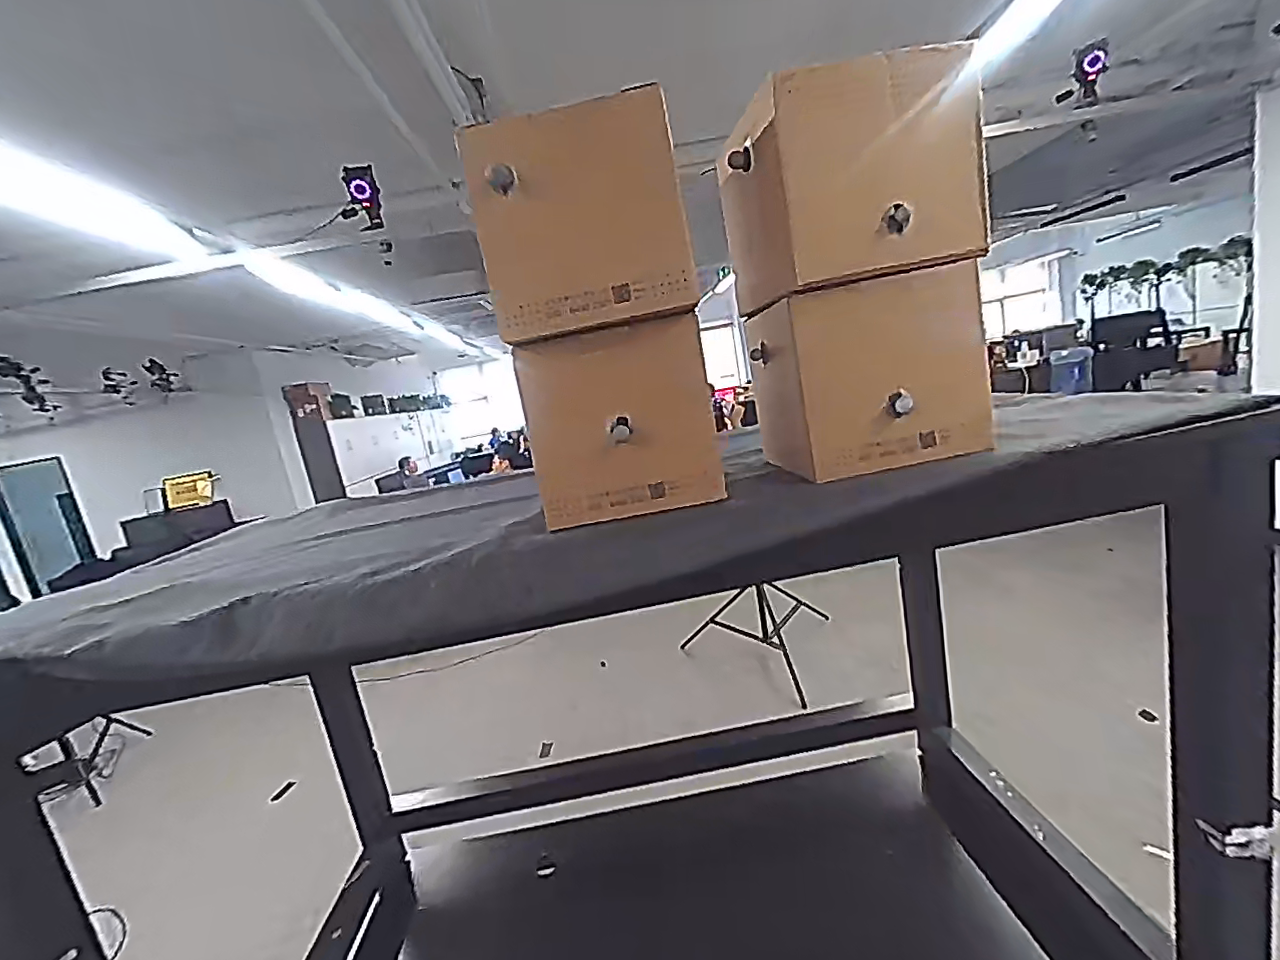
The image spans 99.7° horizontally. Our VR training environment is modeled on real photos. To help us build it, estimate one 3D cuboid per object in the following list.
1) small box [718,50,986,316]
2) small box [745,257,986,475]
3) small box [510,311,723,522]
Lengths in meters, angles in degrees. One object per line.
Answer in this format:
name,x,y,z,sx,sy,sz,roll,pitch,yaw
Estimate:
small box,0.186,-0.266,0.512,0.179,0.176,0.168,-11,9,-5
small box,0.215,-0.106,0.551,0.168,0.176,0.179,-12,9,0
small box,-0.017,-0.061,0.552,0.168,0.176,0.179,-10,9,2
